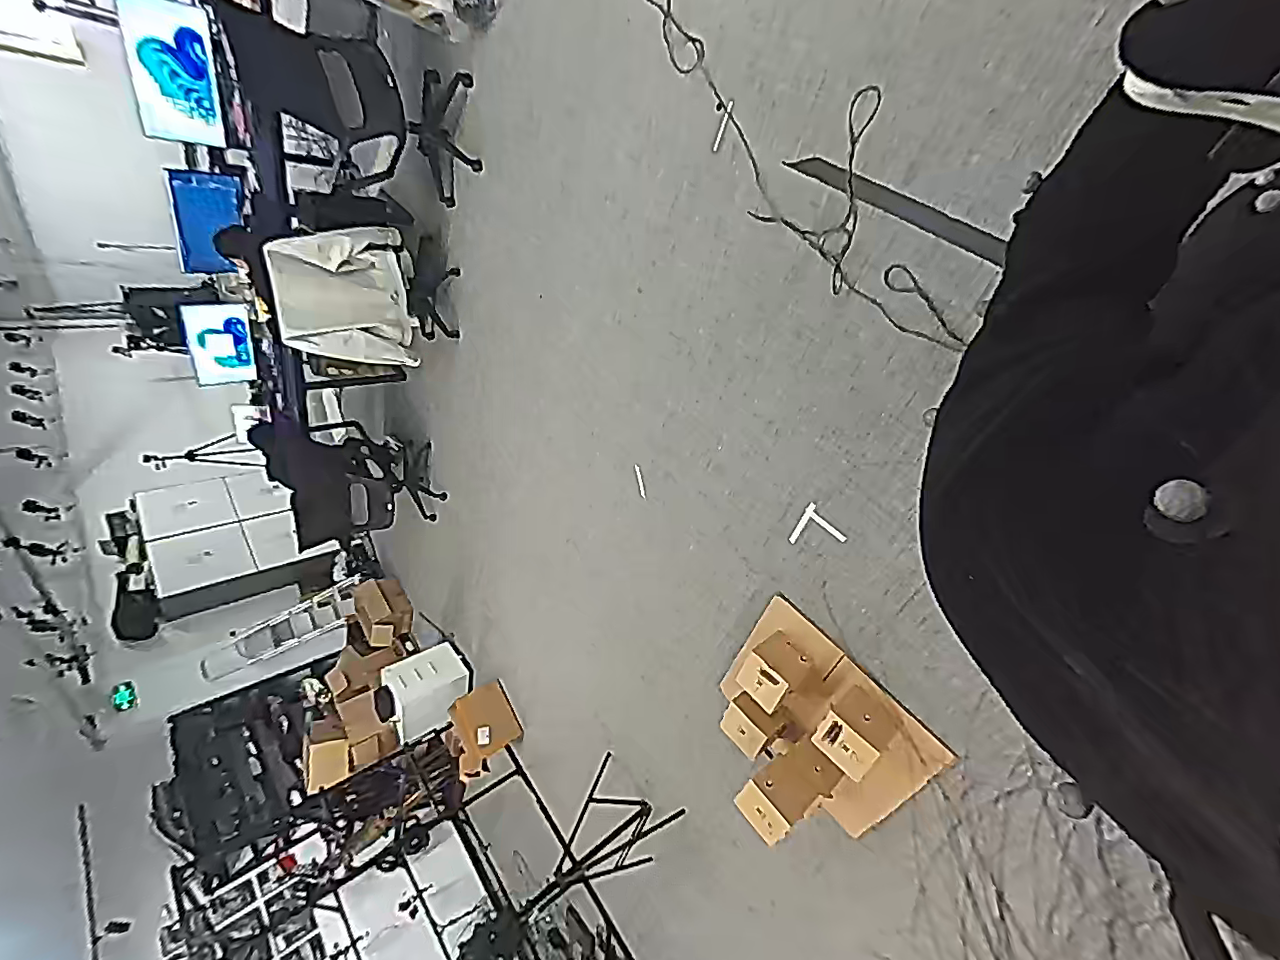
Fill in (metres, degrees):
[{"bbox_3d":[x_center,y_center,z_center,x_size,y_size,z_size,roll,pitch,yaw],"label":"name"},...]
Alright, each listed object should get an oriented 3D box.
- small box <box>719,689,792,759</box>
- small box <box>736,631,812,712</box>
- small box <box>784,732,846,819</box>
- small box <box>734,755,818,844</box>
[{"bbox_3d":[0.434,0.889,2.024,0.179,0.176,0.168,39,130,33],"label":"small box"},{"bbox_3d":[0.474,0.665,1.895,0.168,0.176,0.179,40,130,33],"label":"small box"},{"bbox_3d":[0.588,1.027,1.892,0.179,0.176,0.168,39,129,32],"label":"small box"},{"bbox_3d":[0.452,1.051,1.798,0.179,0.176,0.168,43,133,31],"label":"small box"}]
